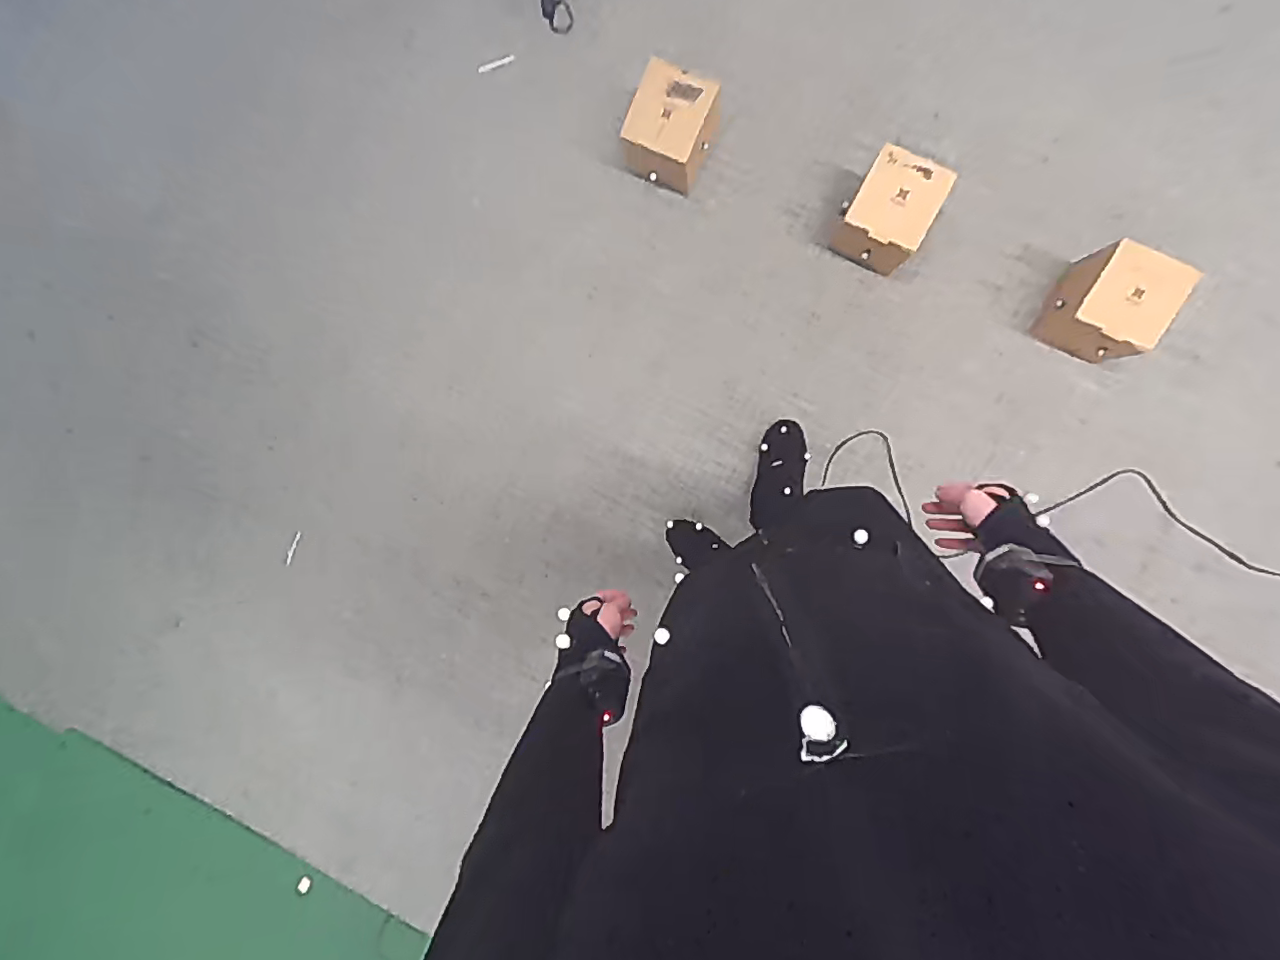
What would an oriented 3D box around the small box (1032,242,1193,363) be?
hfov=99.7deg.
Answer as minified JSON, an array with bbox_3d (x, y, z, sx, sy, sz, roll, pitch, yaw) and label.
[{"bbox_3d":[0.997,-0.370,1.165,0.168,0.176,0.179,27,97,5],"label":"small box"}]

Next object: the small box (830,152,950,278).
[{"bbox_3d":[0.547,-0.582,1.214,0.168,0.176,0.179,28,99,5],"label":"small box"}]

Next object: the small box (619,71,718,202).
[{"bbox_3d":[0.070,-0.793,1.265,0.168,0.176,0.179,25,99,6],"label":"small box"}]
